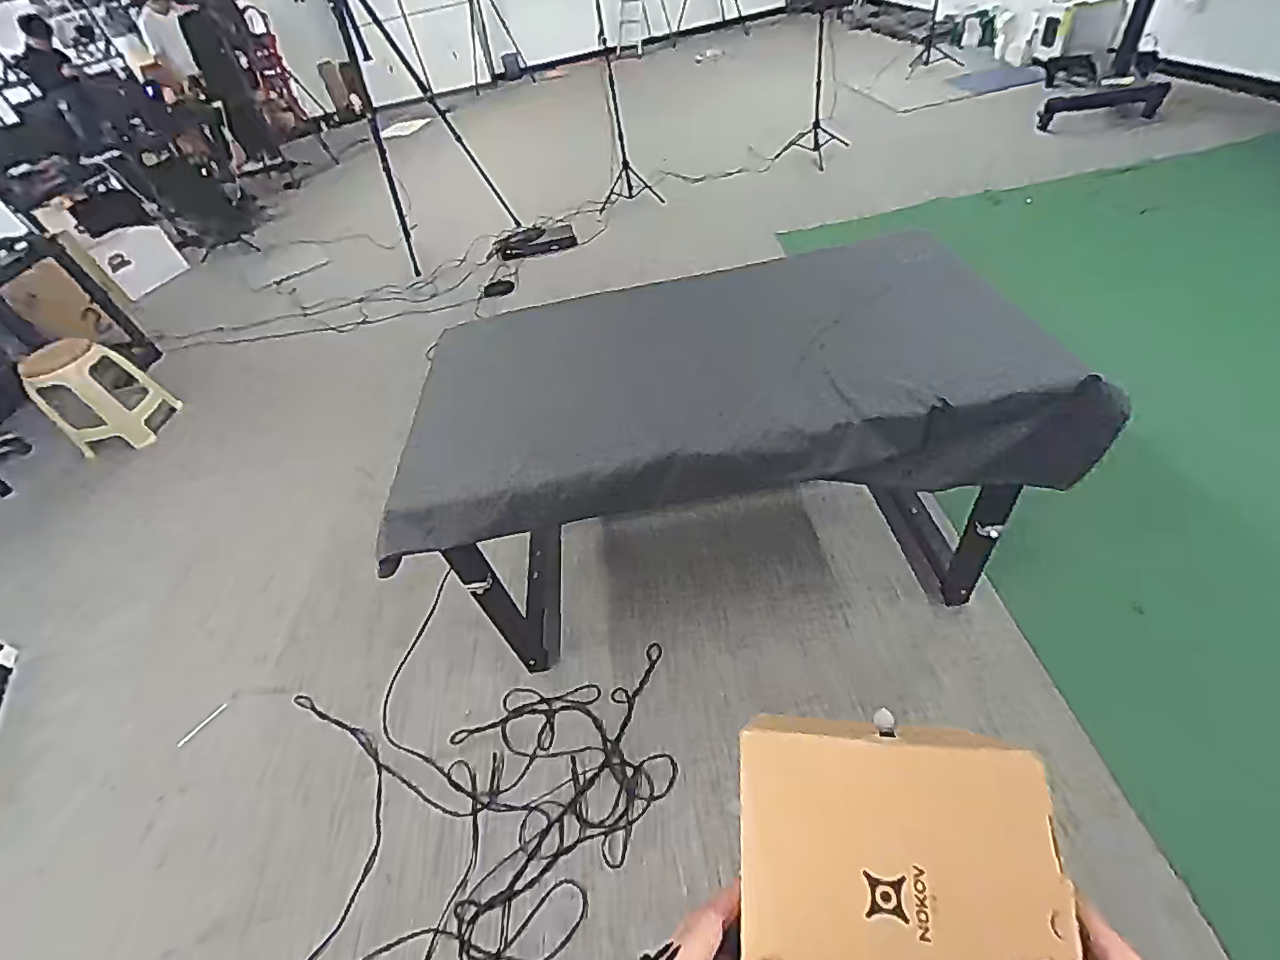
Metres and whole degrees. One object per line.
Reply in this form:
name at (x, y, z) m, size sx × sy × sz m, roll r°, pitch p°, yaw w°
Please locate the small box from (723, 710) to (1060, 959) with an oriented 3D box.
small box at (0.156, 0.257, 0.382) m, size 0.179 × 0.176 × 0.168 m, roll -3°, pitch 69°, yaw 15°
